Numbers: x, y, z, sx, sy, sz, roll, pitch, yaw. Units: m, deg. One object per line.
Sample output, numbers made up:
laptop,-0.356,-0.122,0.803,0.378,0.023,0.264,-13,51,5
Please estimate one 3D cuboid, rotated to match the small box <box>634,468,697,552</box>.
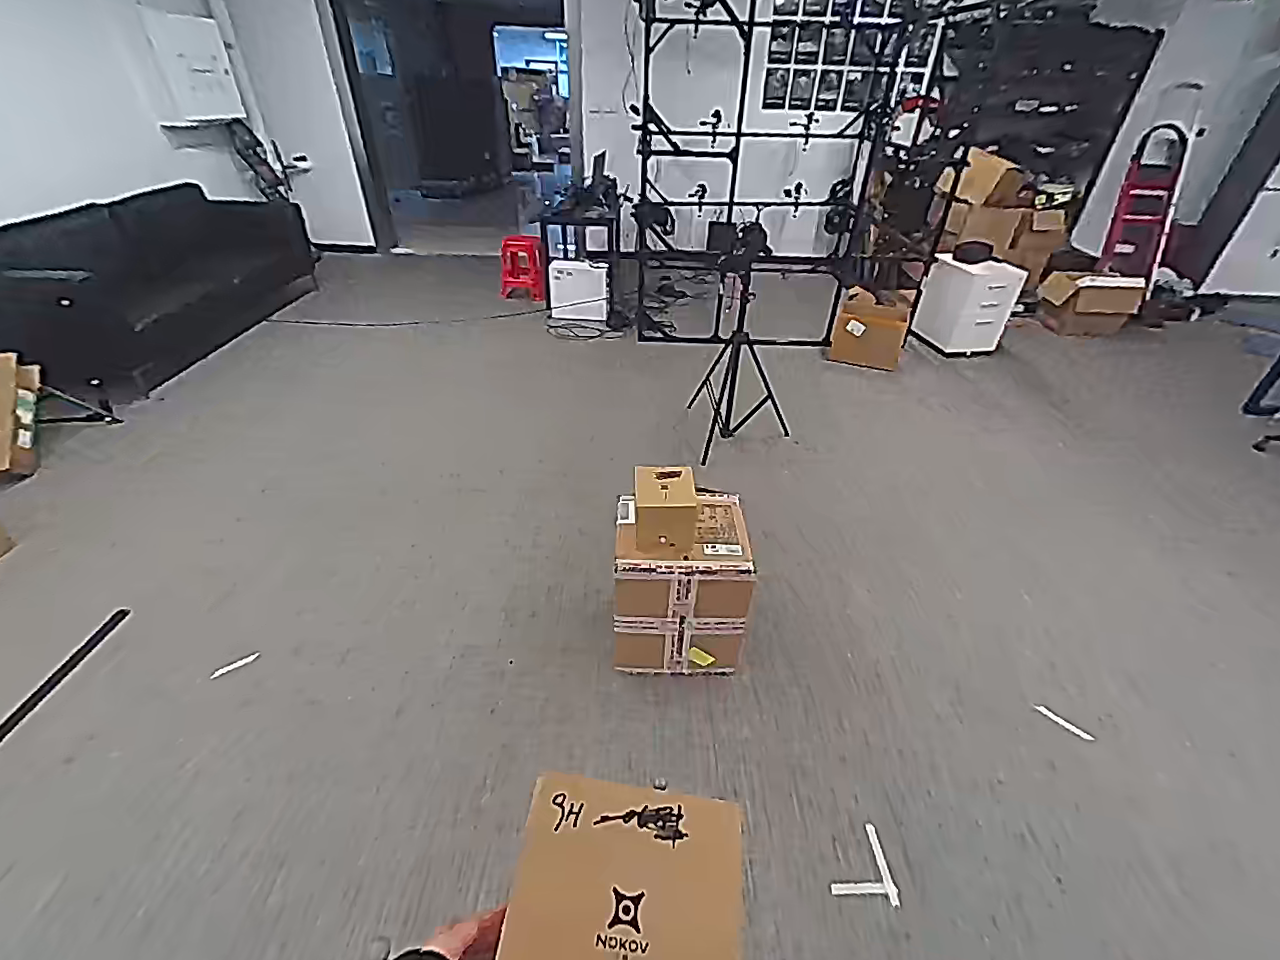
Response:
small box,0.066,0.084,1.536,0.168,0.176,0.179,-1,40,-1
